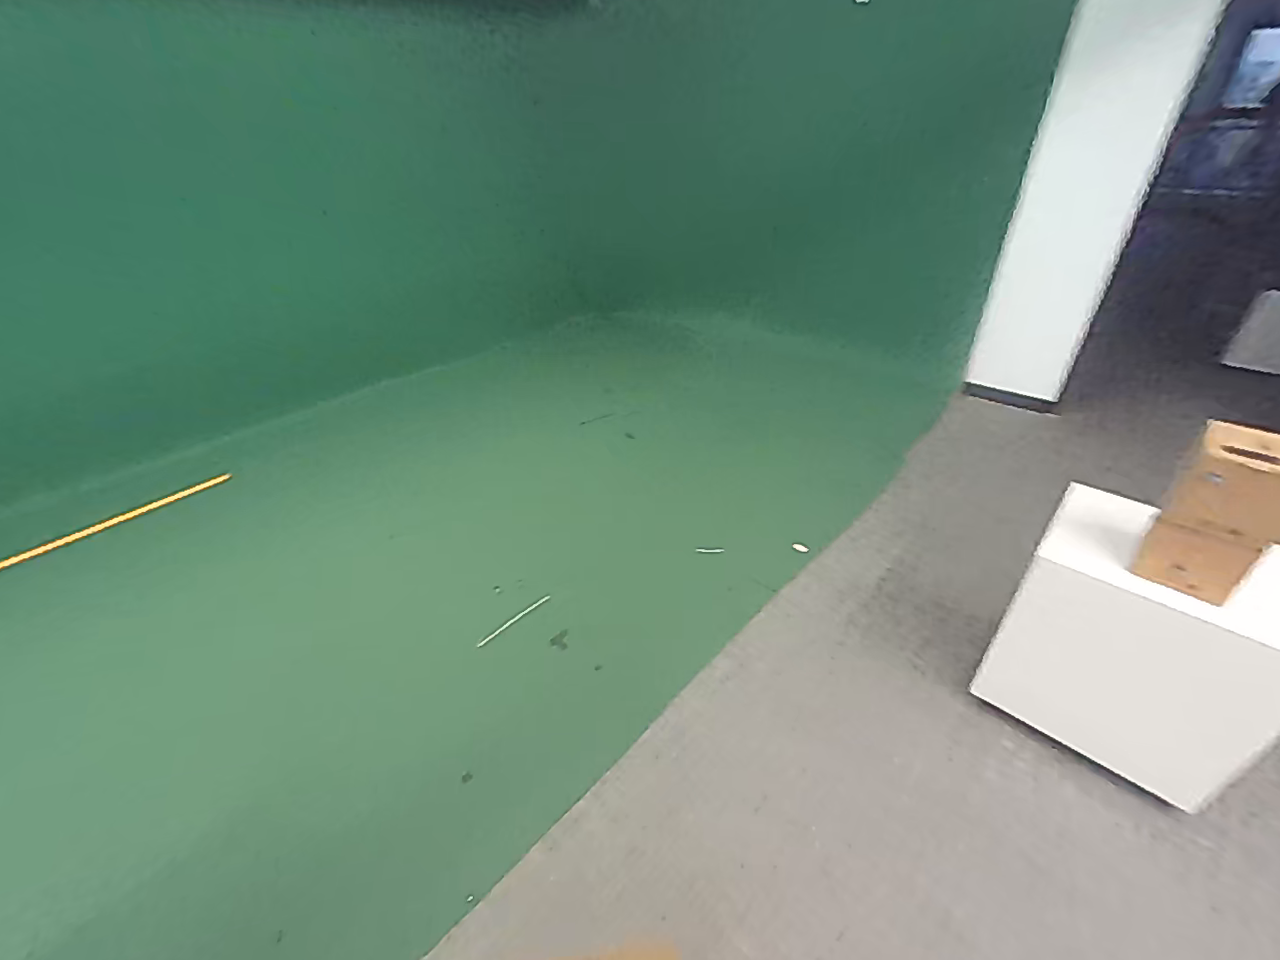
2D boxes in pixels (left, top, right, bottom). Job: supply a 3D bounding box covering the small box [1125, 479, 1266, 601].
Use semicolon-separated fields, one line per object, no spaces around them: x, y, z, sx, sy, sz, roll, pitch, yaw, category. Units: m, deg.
1.224;0.130;1.199;0.168;0.176;0.179;26;43;36;small box
